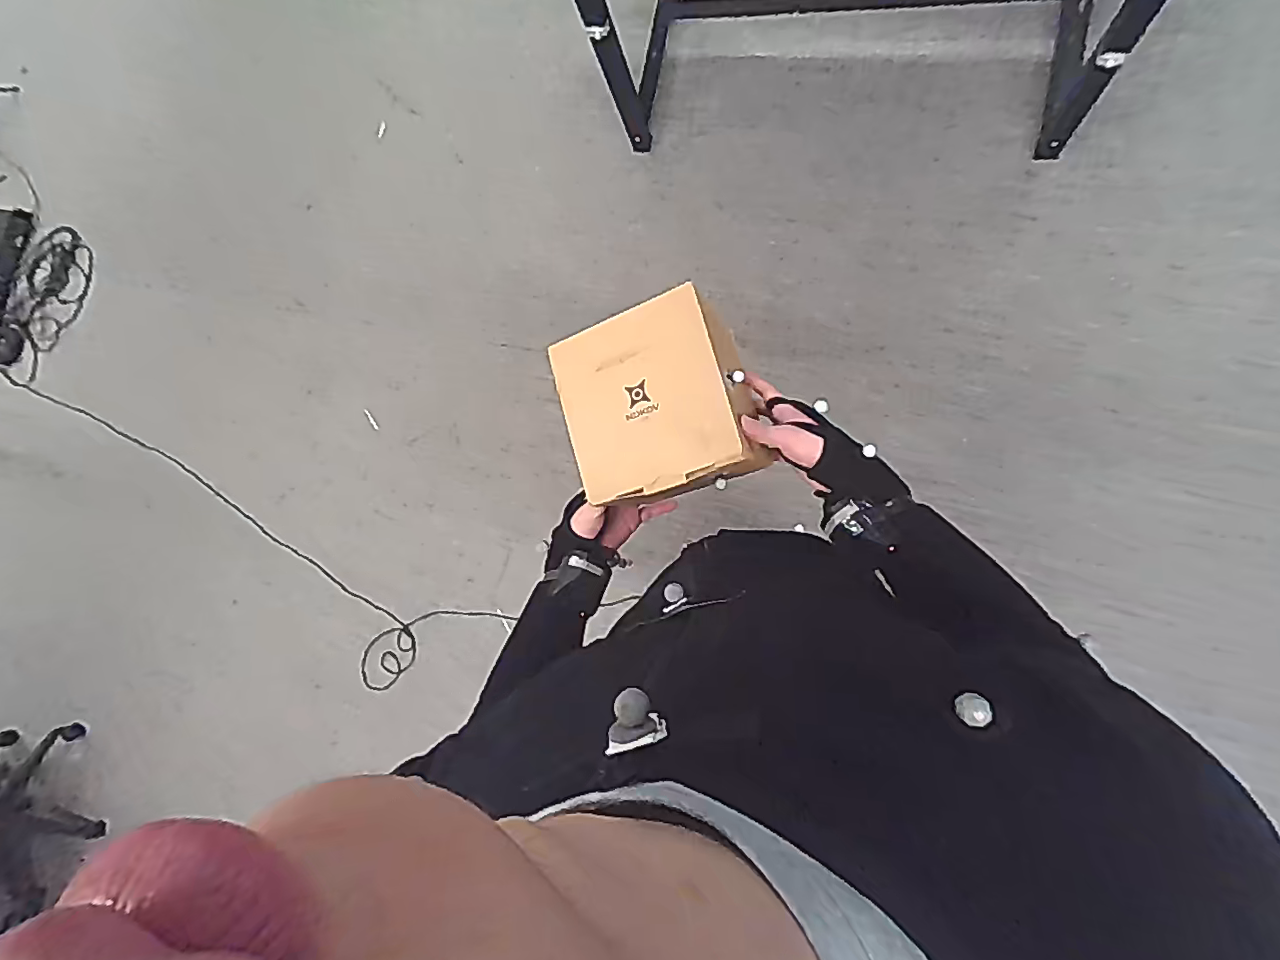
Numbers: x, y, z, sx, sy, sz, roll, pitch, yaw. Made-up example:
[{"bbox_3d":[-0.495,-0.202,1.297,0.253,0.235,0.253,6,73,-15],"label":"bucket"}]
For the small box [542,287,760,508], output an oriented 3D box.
[{"bbox_3d":[0.022,-0.076,0.596,0.168,0.176,0.179,-18,82,21],"label":"small box"}]
